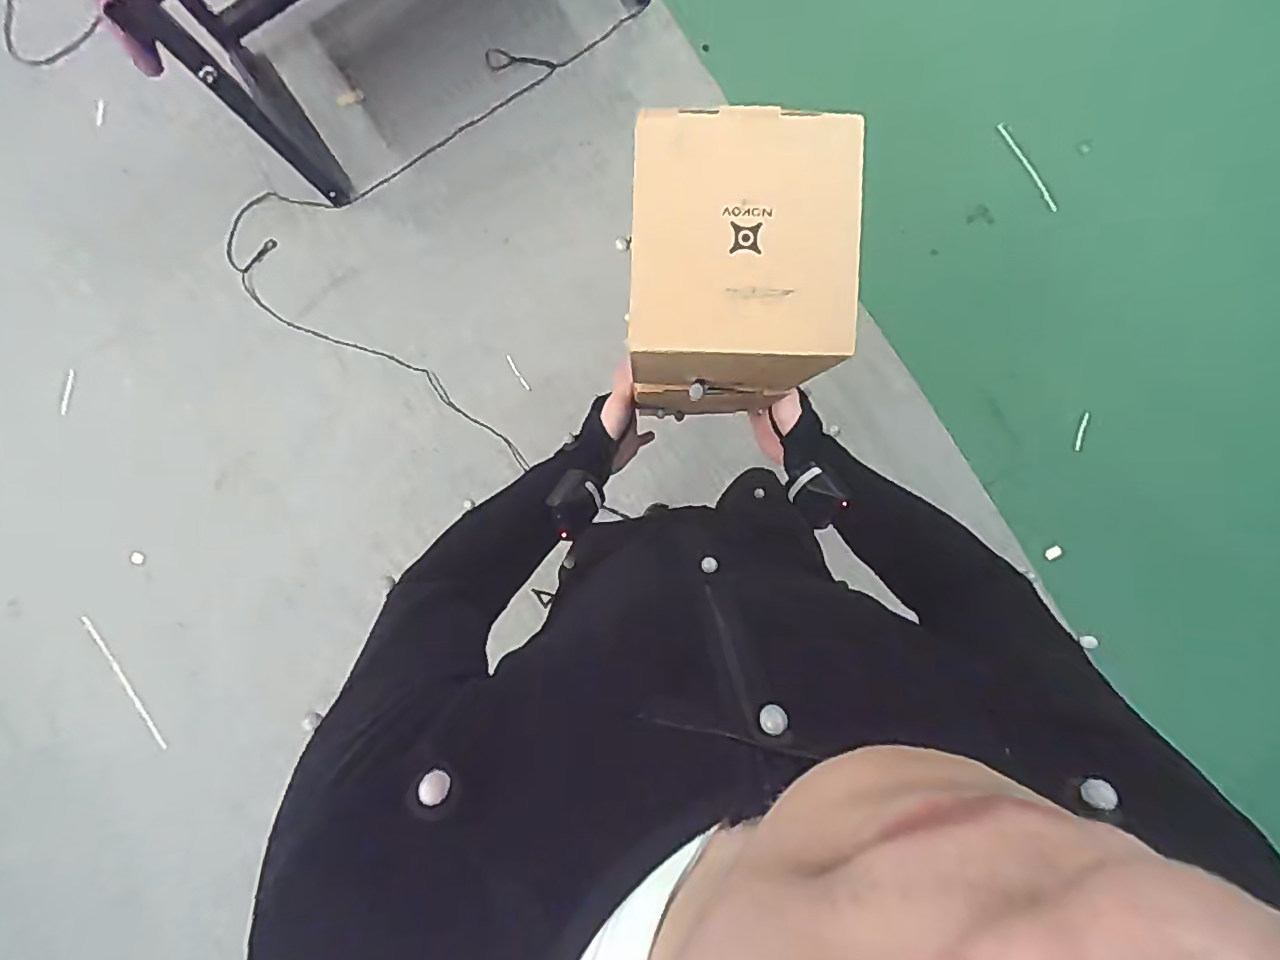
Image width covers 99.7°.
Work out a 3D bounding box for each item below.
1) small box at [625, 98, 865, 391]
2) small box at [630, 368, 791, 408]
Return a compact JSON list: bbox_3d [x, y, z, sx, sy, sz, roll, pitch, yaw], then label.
[{"bbox_3d":[0.073,-0.178,0.458,0.168,0.176,0.179,2,92,0],"label":"small box"},{"bbox_3d":[0.074,-0.177,0.621,0.168,0.176,0.179,0,91,-1],"label":"small box"}]
